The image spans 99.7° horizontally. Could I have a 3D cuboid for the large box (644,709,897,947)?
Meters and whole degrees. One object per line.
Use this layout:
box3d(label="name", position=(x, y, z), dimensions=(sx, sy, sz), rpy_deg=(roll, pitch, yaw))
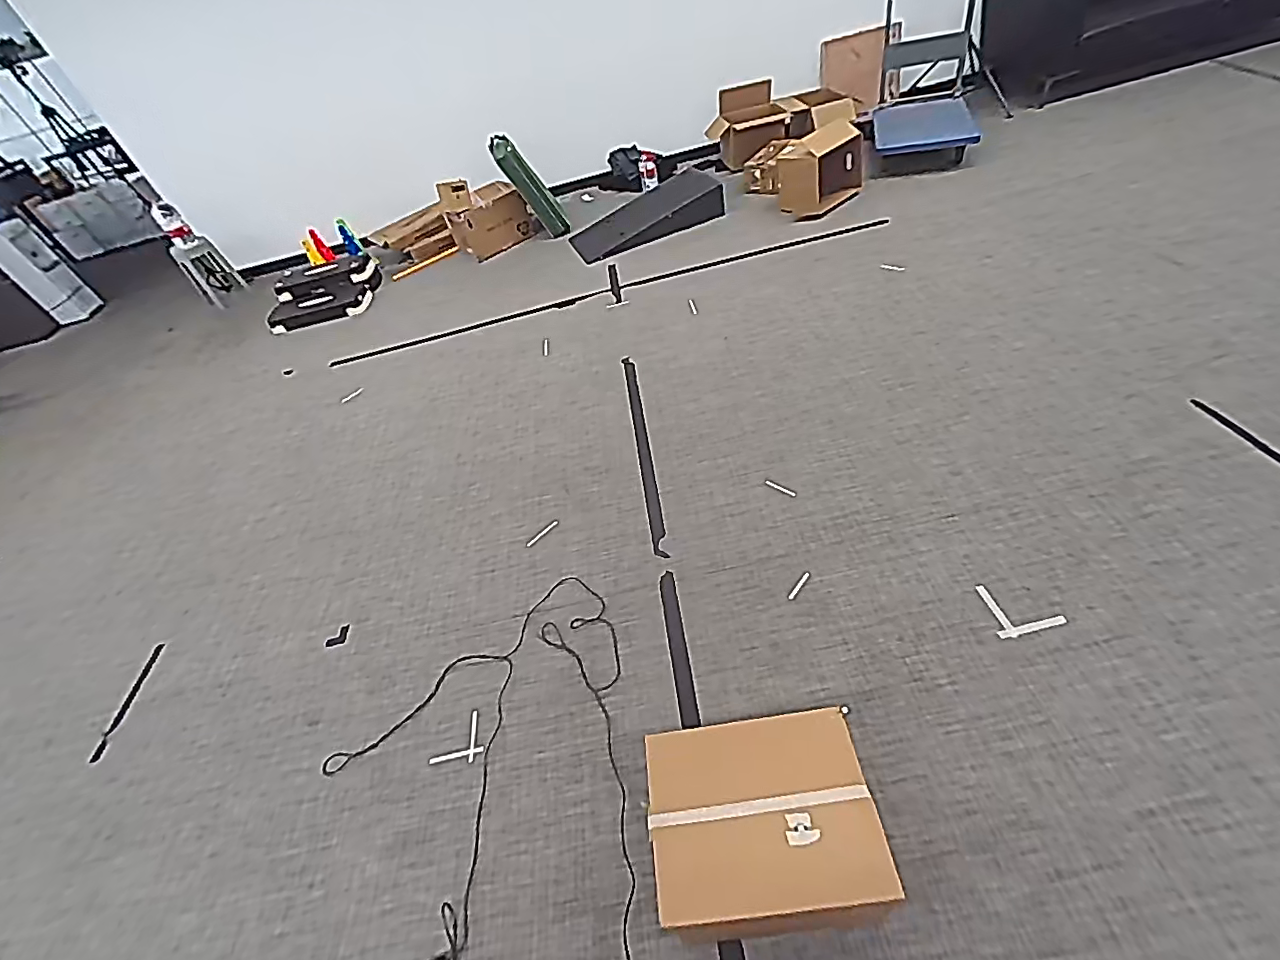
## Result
box3d(label="large box", position=(0.240, 0.712, 1.102), dimensions=(0.408, 0.320, 0.320), rpy_deg=(-10, 45, 4))
